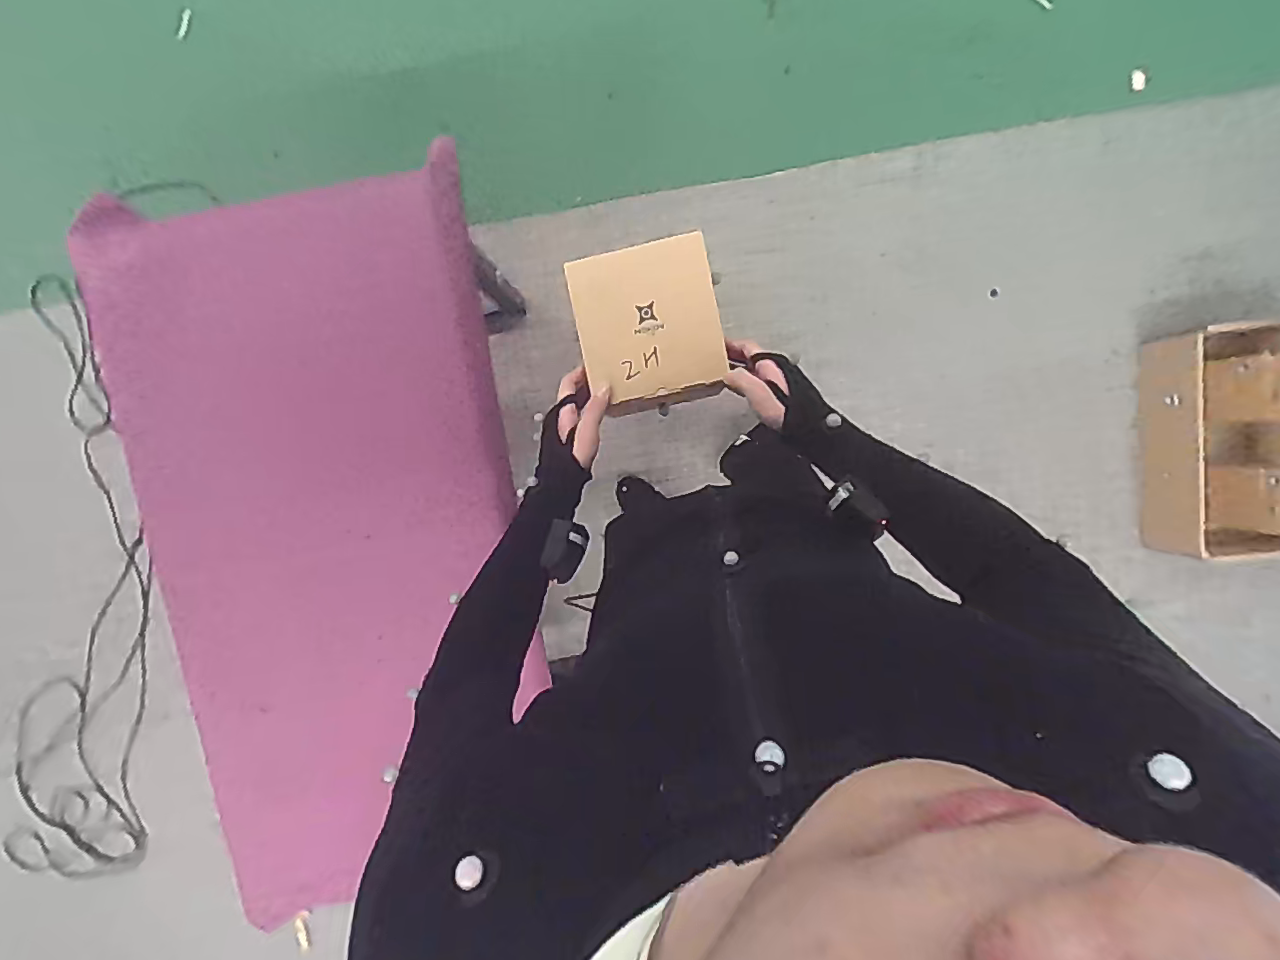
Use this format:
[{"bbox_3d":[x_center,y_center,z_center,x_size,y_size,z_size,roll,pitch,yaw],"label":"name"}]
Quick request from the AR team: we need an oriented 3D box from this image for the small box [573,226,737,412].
[{"bbox_3d":[0.020,-0.192,0.694,0.168,0.176,0.179,-11,93,4],"label":"small box"}]

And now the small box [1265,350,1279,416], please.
[{"bbox_3d":[1.648,-0.239,1.265,0.179,0.176,0.168,-5,95,1],"label":"small box"}]

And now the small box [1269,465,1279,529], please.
[{"bbox_3d":[1.669,0.042,1.284,0.179,0.176,0.168,-3,93,0],"label":"small box"}]
